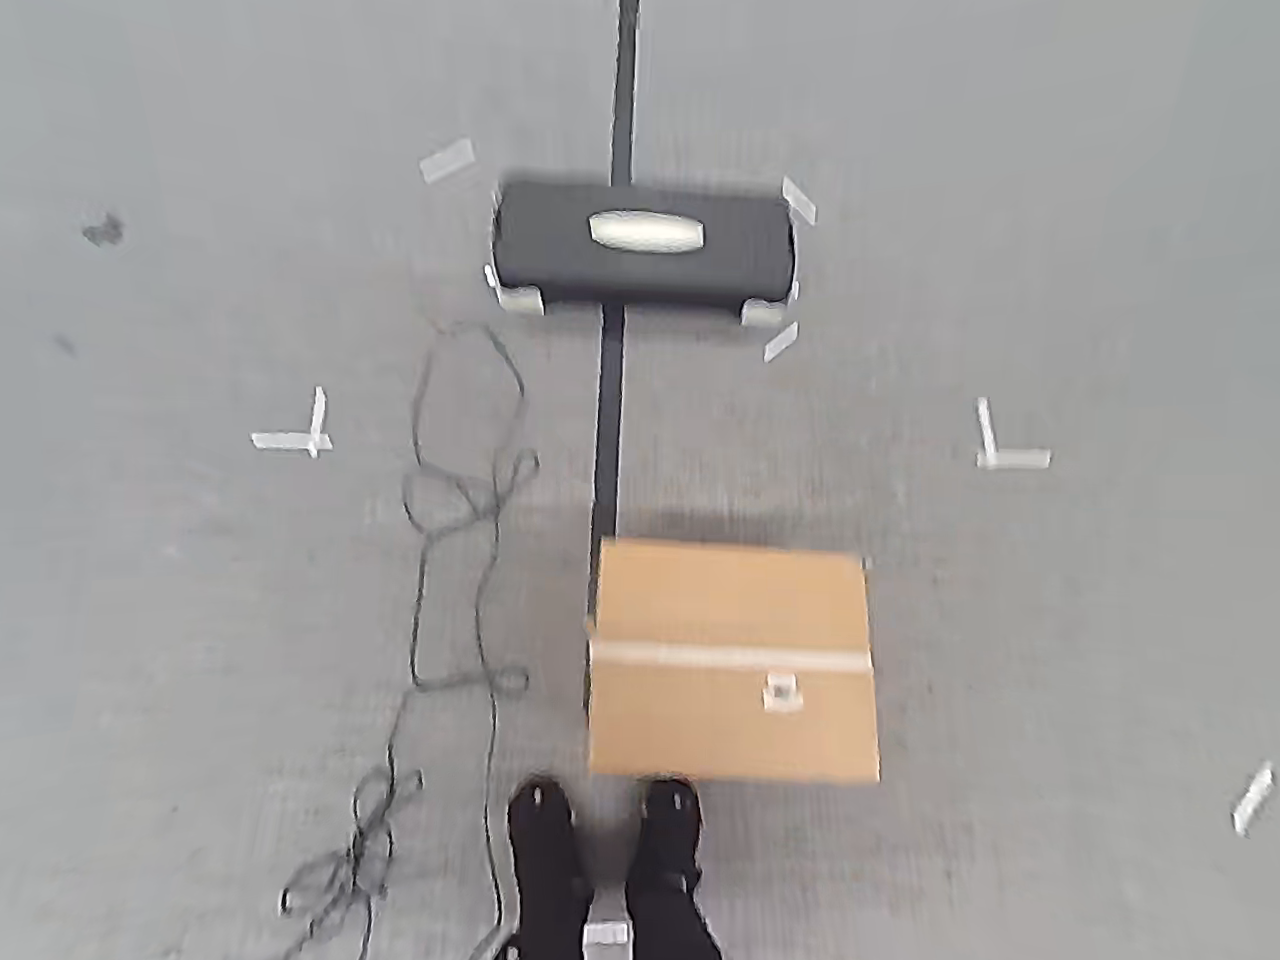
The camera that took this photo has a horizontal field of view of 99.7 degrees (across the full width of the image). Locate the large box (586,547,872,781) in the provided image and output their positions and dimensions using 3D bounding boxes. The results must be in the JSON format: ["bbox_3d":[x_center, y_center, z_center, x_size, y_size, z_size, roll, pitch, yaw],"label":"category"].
[{"bbox_3d":[0.115,0.302,0.916,0.408,0.320,0.320,4,73,-4],"label":"large box"}]
